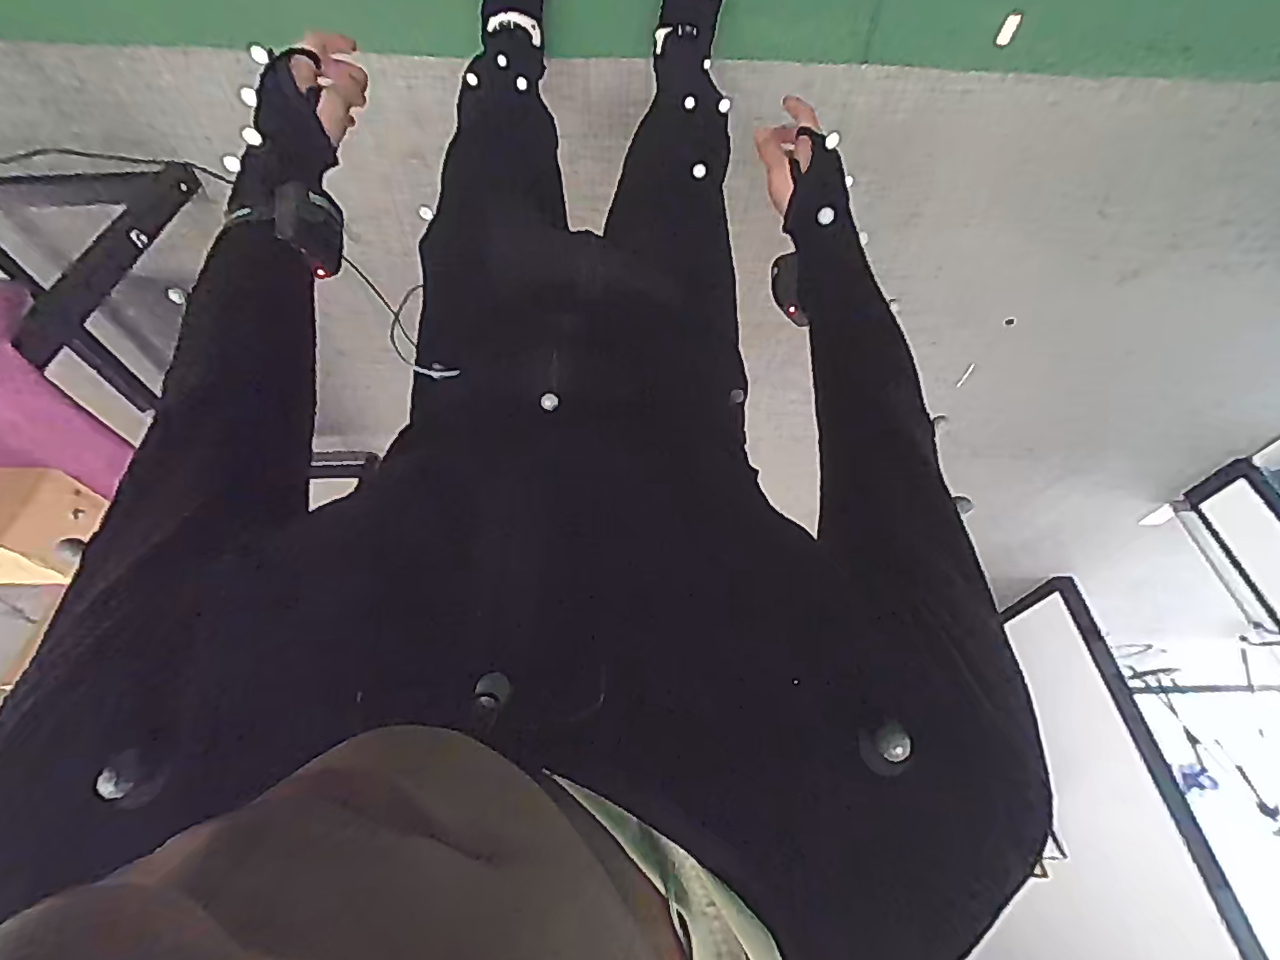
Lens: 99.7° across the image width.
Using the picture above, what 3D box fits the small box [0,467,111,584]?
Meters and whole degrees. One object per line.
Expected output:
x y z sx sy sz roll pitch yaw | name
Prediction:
-1.192 0.085 1.031 0.179 0.176 0.168 0 146 -1 | small box
